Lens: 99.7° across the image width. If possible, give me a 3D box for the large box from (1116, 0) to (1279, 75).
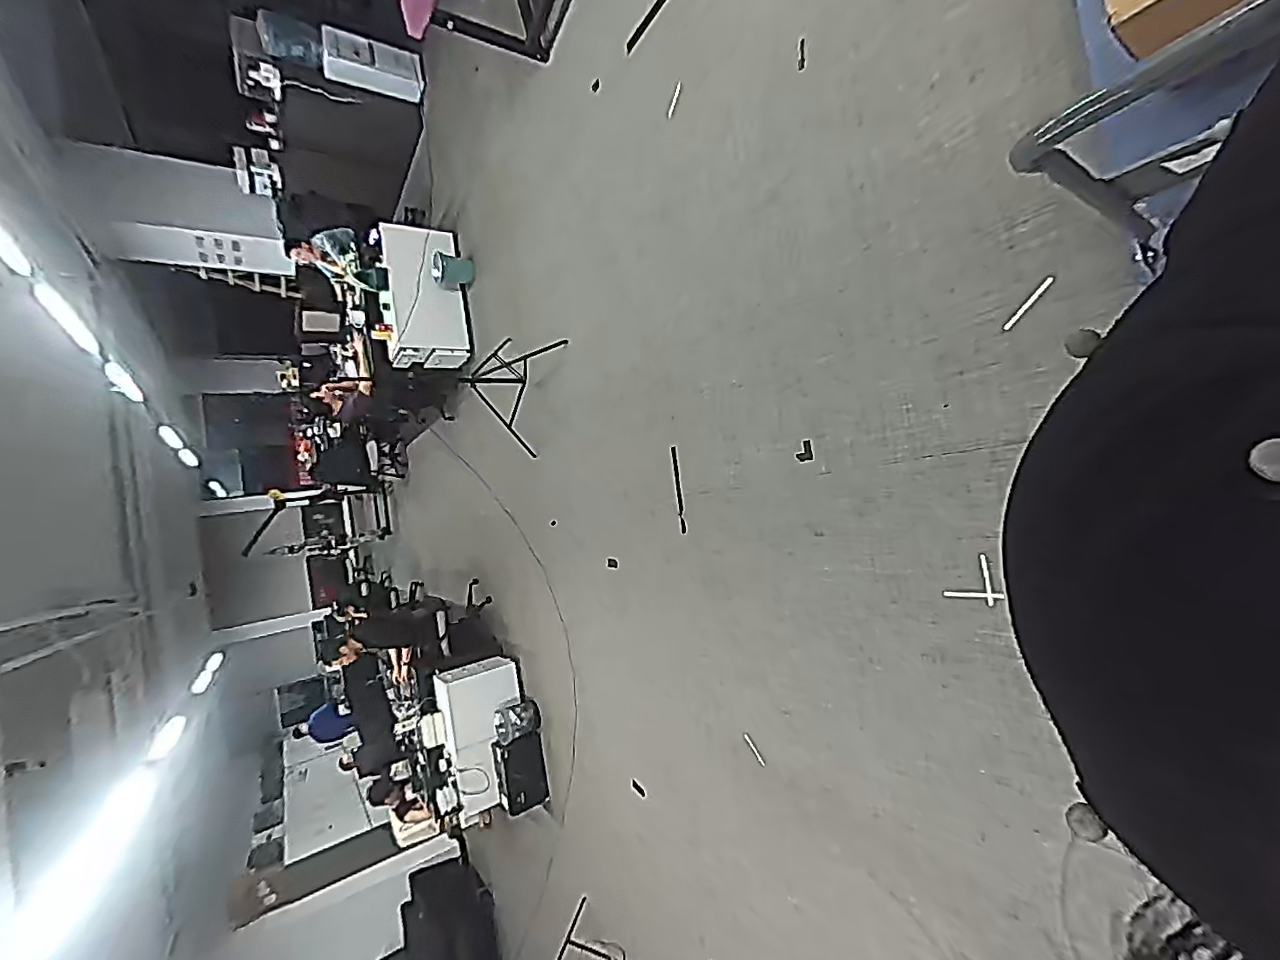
[{"bbox_3d":[0.893,-0.844,0.690,0.408,0.320,0.320,-10,87,57],"label":"large box"}]
